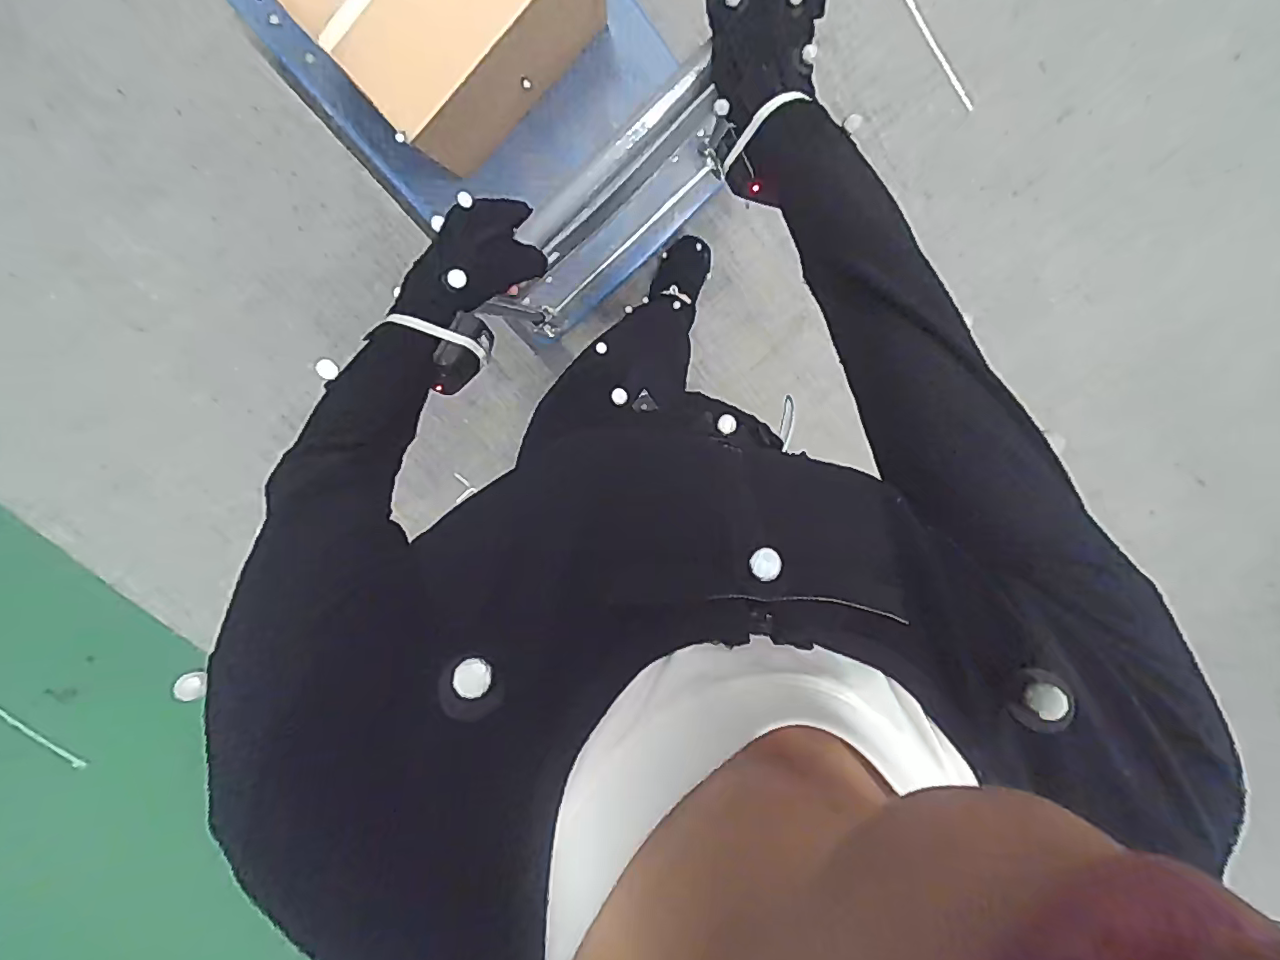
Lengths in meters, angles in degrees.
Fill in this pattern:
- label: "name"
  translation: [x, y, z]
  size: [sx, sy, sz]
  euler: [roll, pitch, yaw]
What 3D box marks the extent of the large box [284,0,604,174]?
- label: "large box"
  translation: [-0.302, -0.798, 0.882]
  size: [0.408, 0.320, 0.320]
  euler: [-41, 106, 12]
